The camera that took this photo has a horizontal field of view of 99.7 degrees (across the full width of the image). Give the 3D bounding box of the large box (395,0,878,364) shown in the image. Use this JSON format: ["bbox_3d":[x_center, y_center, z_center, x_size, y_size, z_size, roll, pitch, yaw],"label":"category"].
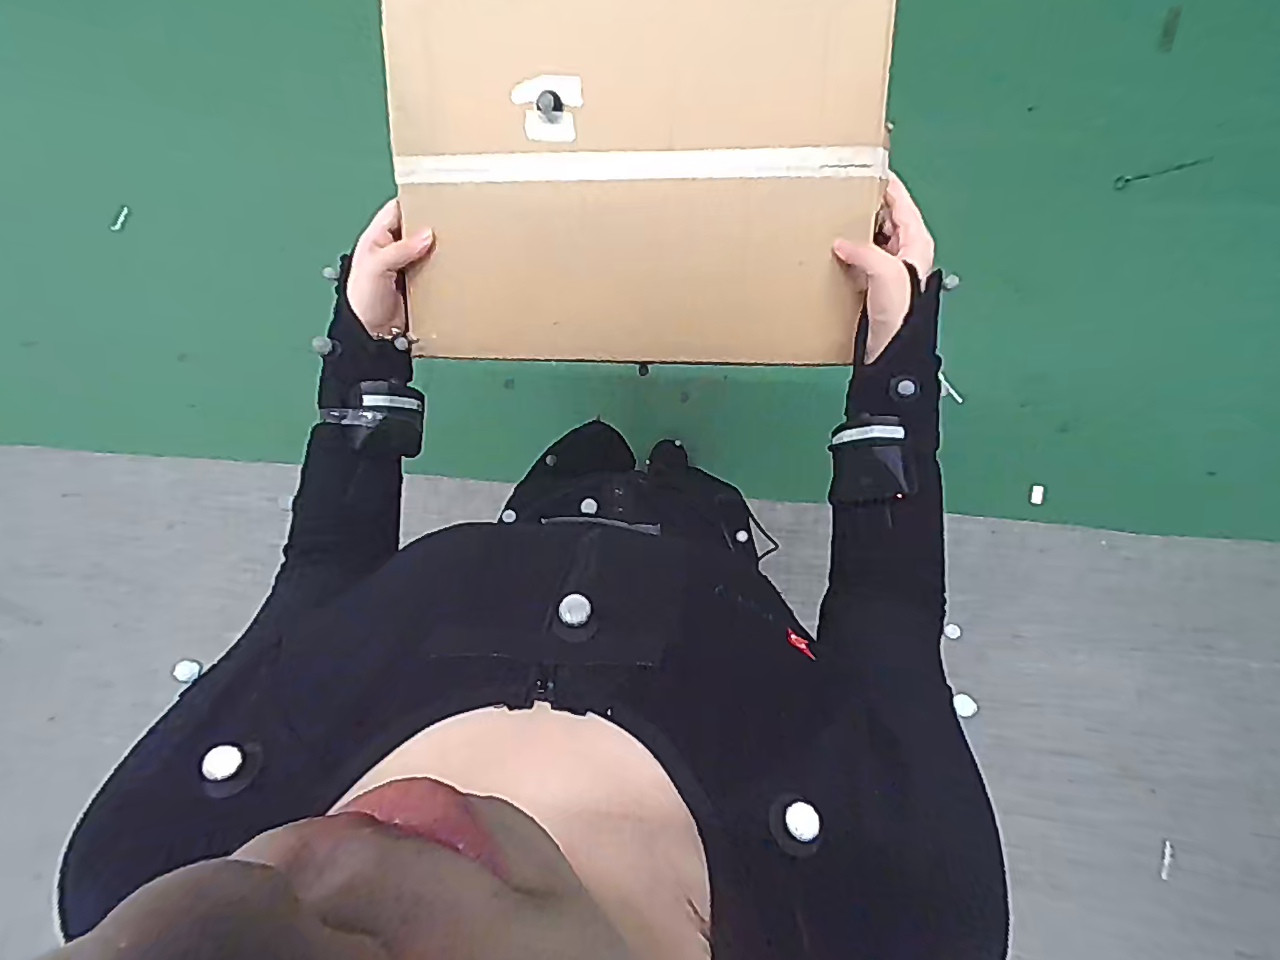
[{"bbox_3d":[0.007,-0.295,0.610,0.408,0.320,0.320,2,102,6],"label":"large box"}]
